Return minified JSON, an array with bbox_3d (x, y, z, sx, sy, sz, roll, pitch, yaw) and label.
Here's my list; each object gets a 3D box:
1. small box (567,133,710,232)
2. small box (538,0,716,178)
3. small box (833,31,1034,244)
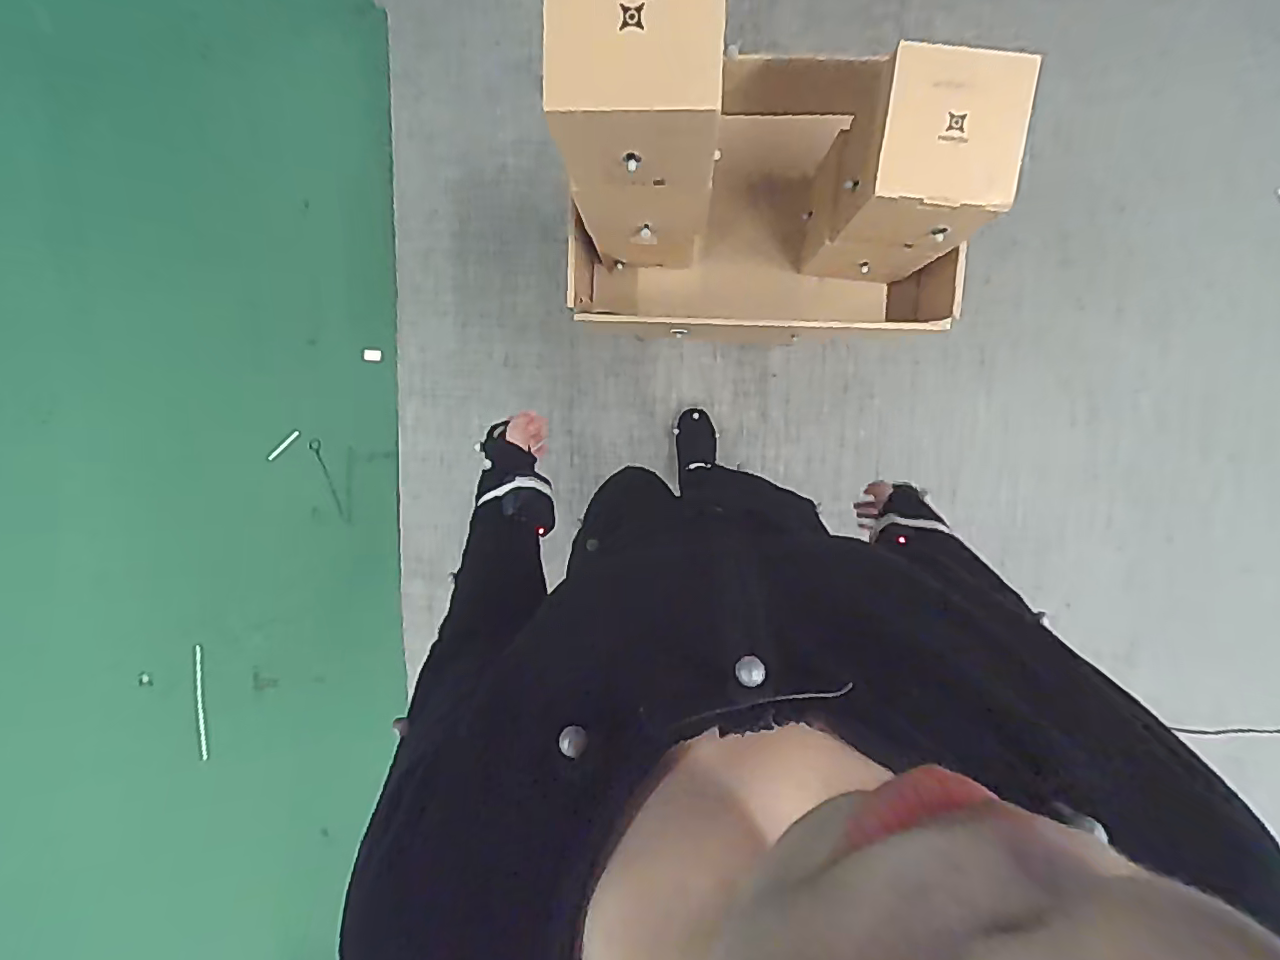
[{"bbox_3d":[0.001,-0.453,0.736,0.179,0.176,0.168,0,94,3],"label":"small box"},{"bbox_3d":[-0.006,-0.442,0.571,0.168,0.176,0.179,2,95,4],"label":"small box"},{"bbox_3d":[0.367,-0.432,0.712,0.168,0.176,0.179,8,94,2],"label":"small box"}]
